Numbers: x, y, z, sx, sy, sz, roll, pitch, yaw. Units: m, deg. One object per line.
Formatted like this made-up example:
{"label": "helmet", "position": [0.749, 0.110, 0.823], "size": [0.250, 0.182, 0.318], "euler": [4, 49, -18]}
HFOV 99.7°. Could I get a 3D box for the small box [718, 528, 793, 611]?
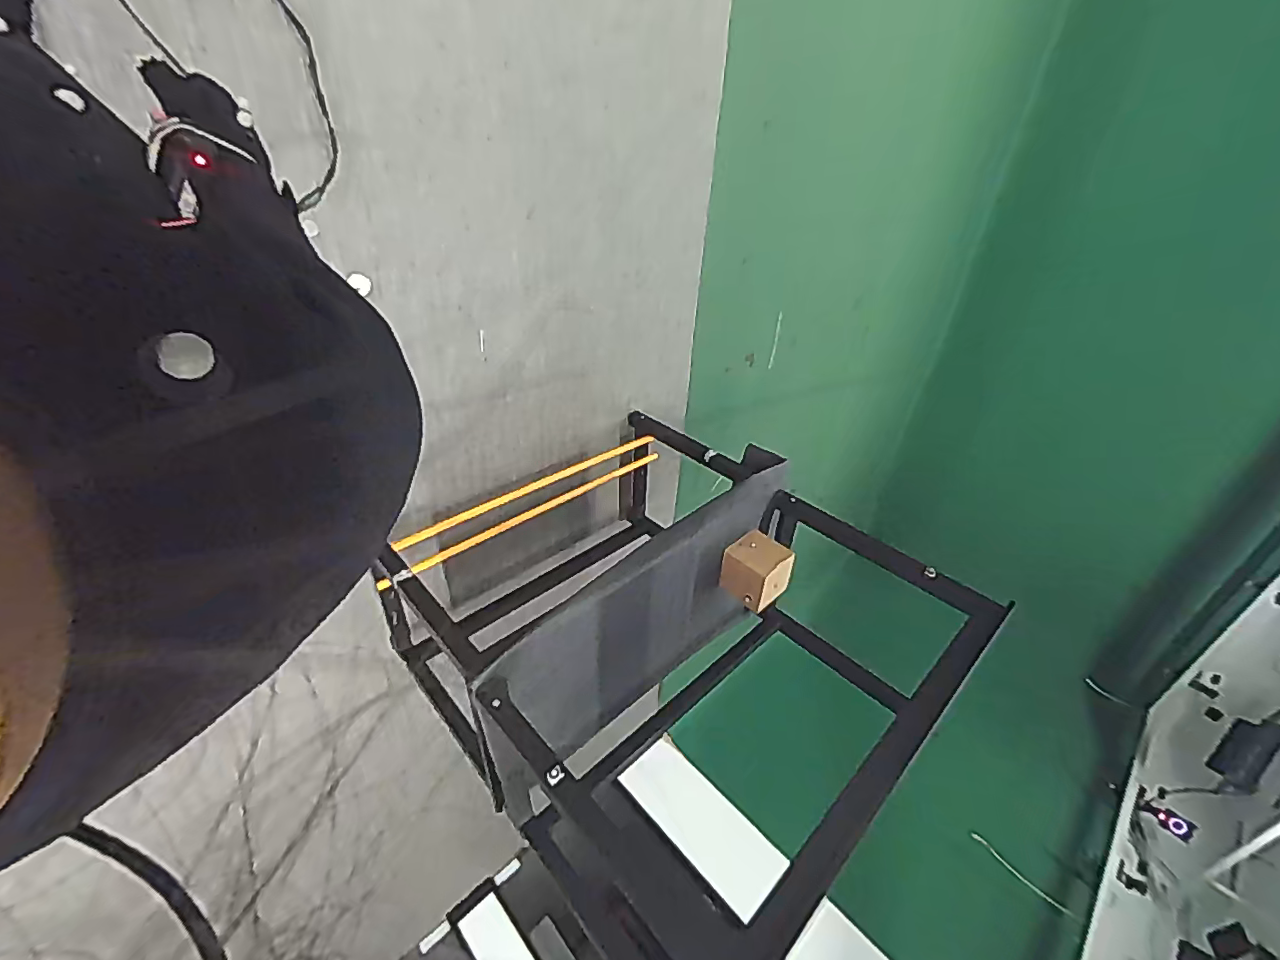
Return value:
{"label": "small box", "position": [0.380, 0.295, 1.809], "size": [0.168, 0.176, 0.179], "euler": [-28, 136, -35]}
